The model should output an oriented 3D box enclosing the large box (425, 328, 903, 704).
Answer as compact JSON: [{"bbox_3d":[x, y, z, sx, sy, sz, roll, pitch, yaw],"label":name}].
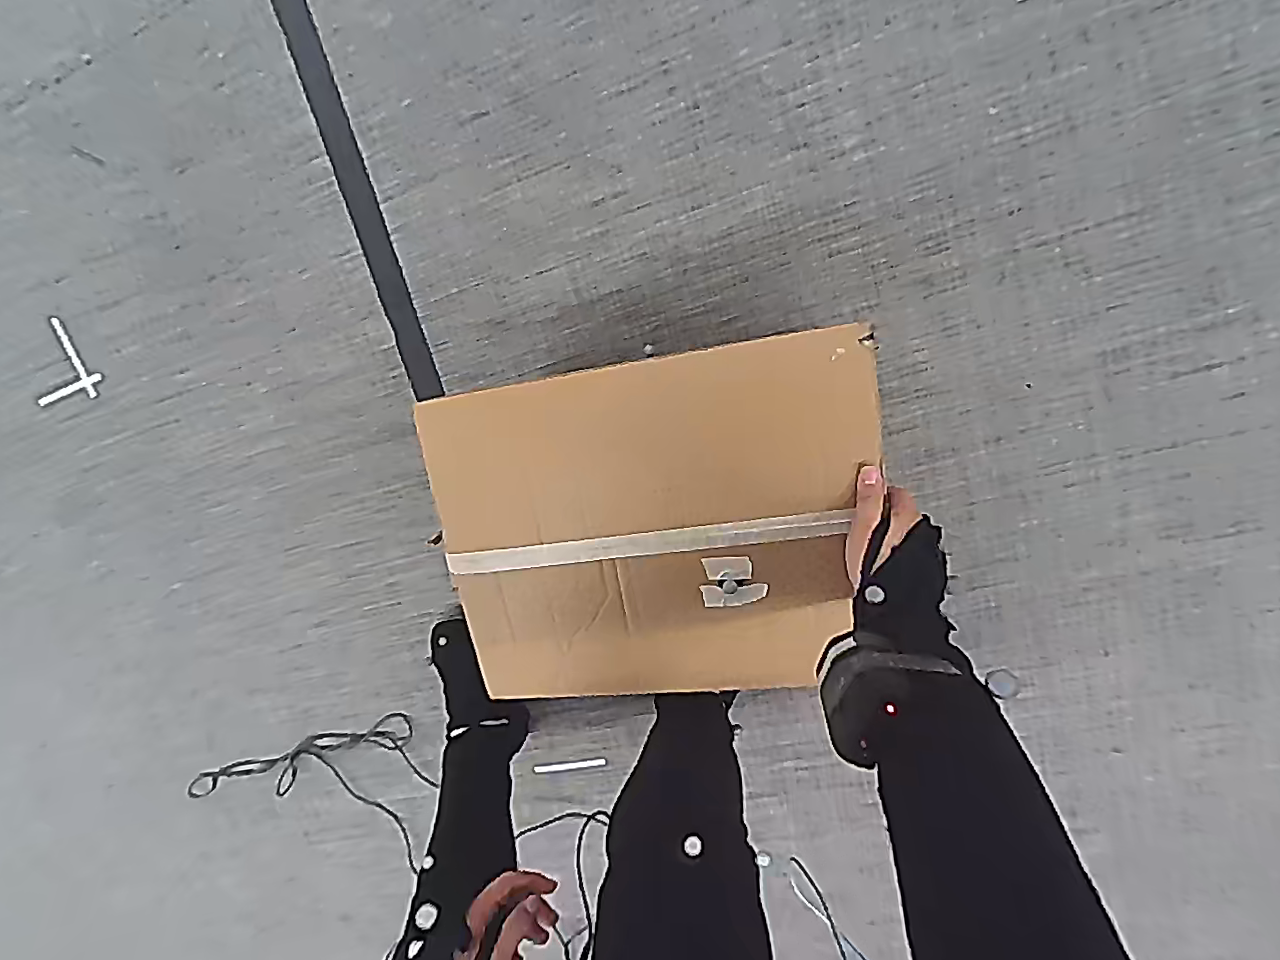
[{"bbox_3d":[0.040,0.025,0.634,0.408,0.320,0.320,-8,102,12],"label":"large box"}]
